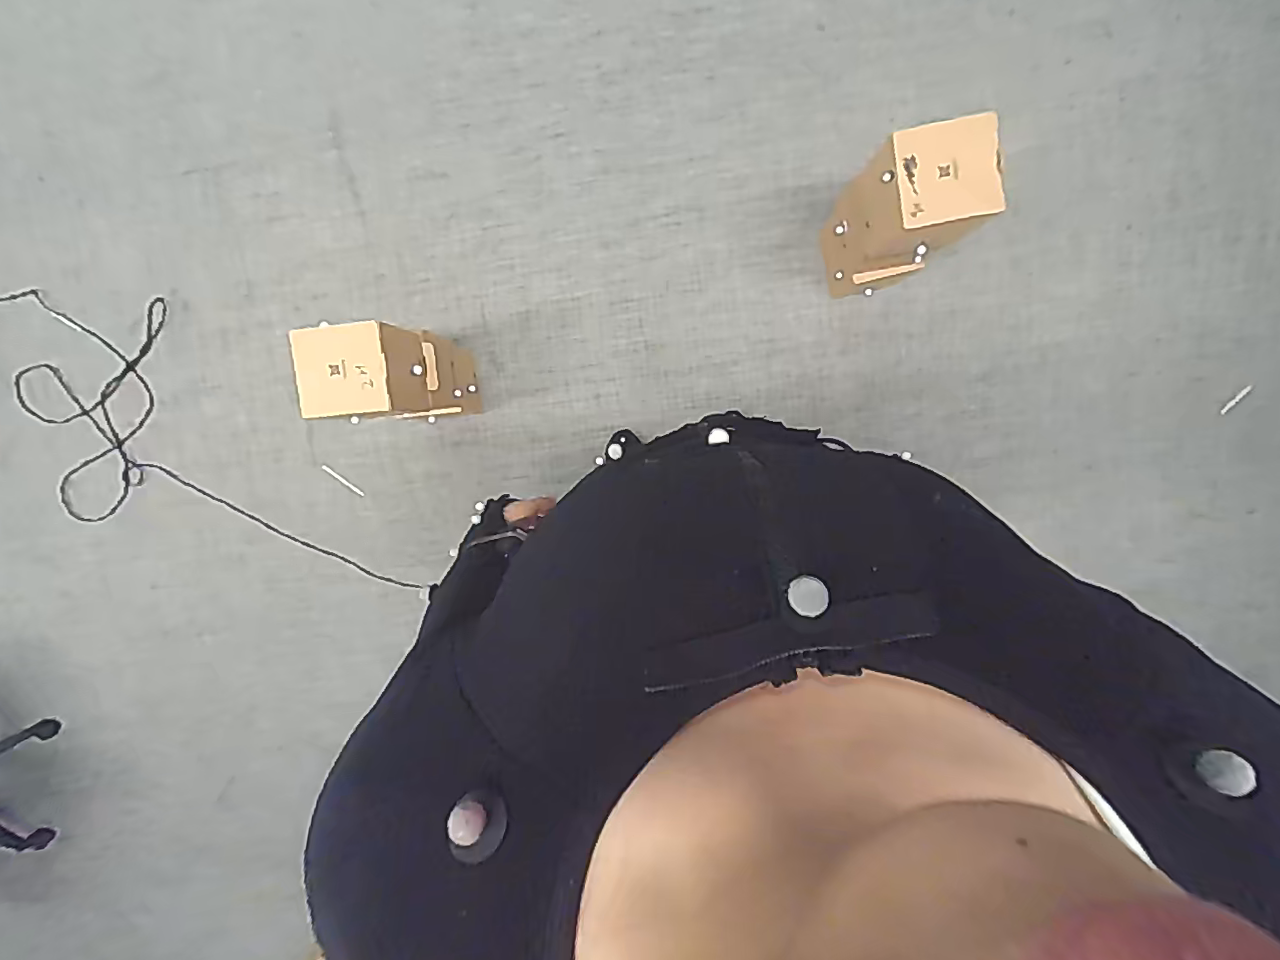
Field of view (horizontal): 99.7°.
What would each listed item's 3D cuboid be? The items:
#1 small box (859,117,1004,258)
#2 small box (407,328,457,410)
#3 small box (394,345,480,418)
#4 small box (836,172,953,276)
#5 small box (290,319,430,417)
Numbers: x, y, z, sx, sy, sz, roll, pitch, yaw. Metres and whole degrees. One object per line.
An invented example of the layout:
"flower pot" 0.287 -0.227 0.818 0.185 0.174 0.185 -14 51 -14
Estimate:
"small box" 0.532 -0.531 1.005 0.179 0.176 0.168 -9 95 3
"small box" -0.534 -0.245 1.234 0.179 0.176 0.168 -5 96 4
"small box" -0.525 -0.252 1.399 0.179 0.176 0.168 -5 96 4
"small box" 0.543 -0.557 1.167 0.179 0.176 0.168 -9 95 4
"small box" -0.545 -0.214 1.073 0.179 0.176 0.168 -5 97 4
